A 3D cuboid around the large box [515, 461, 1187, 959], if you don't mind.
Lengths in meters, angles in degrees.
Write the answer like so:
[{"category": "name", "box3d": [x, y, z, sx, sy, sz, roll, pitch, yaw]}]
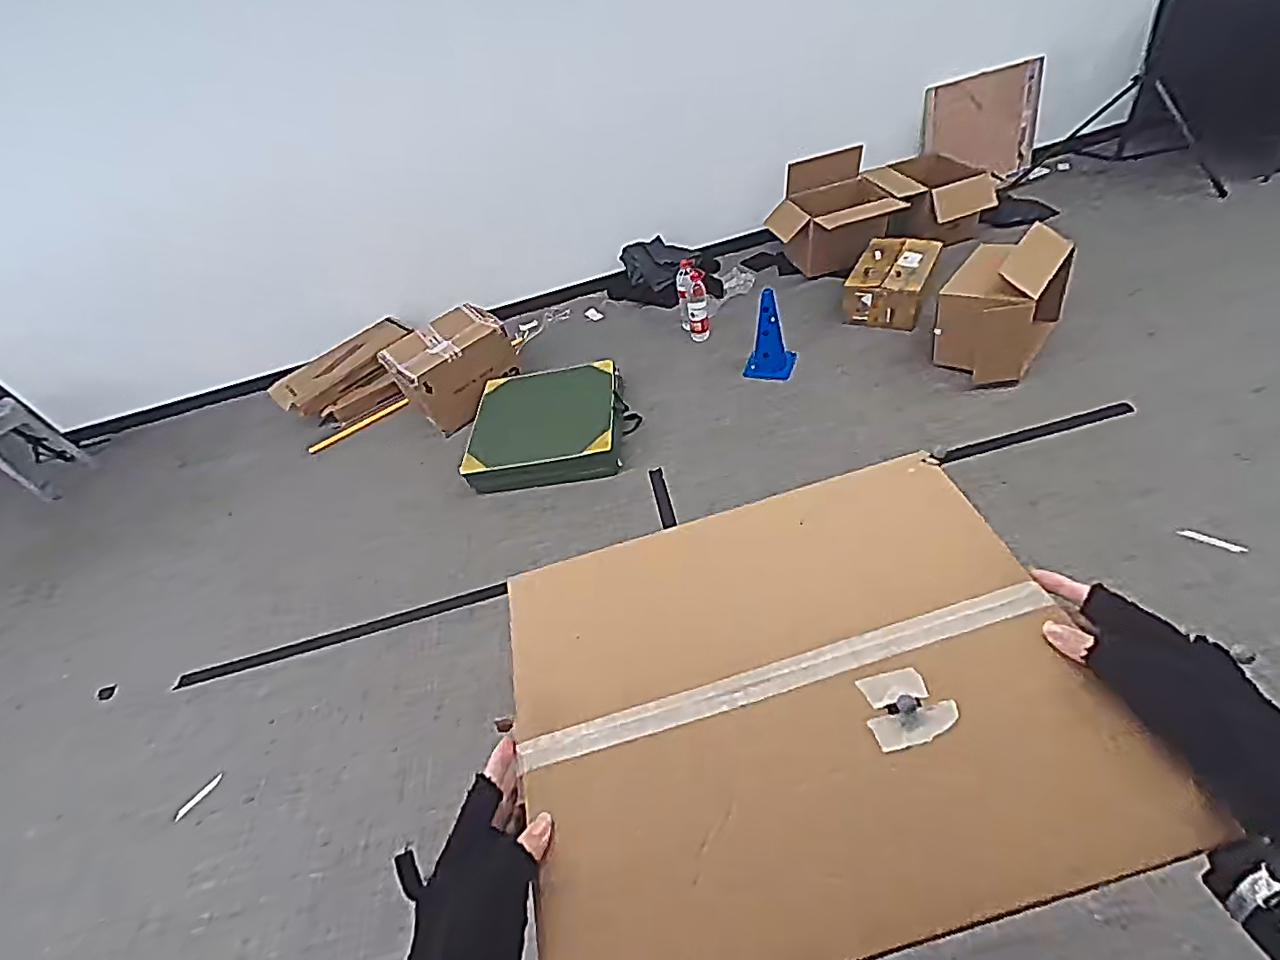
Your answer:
[{"category": "large box", "box3d": [0.132, 0.243, 0.527, 0.408, 0.320, 0.320, -17, 50, -1]}]
